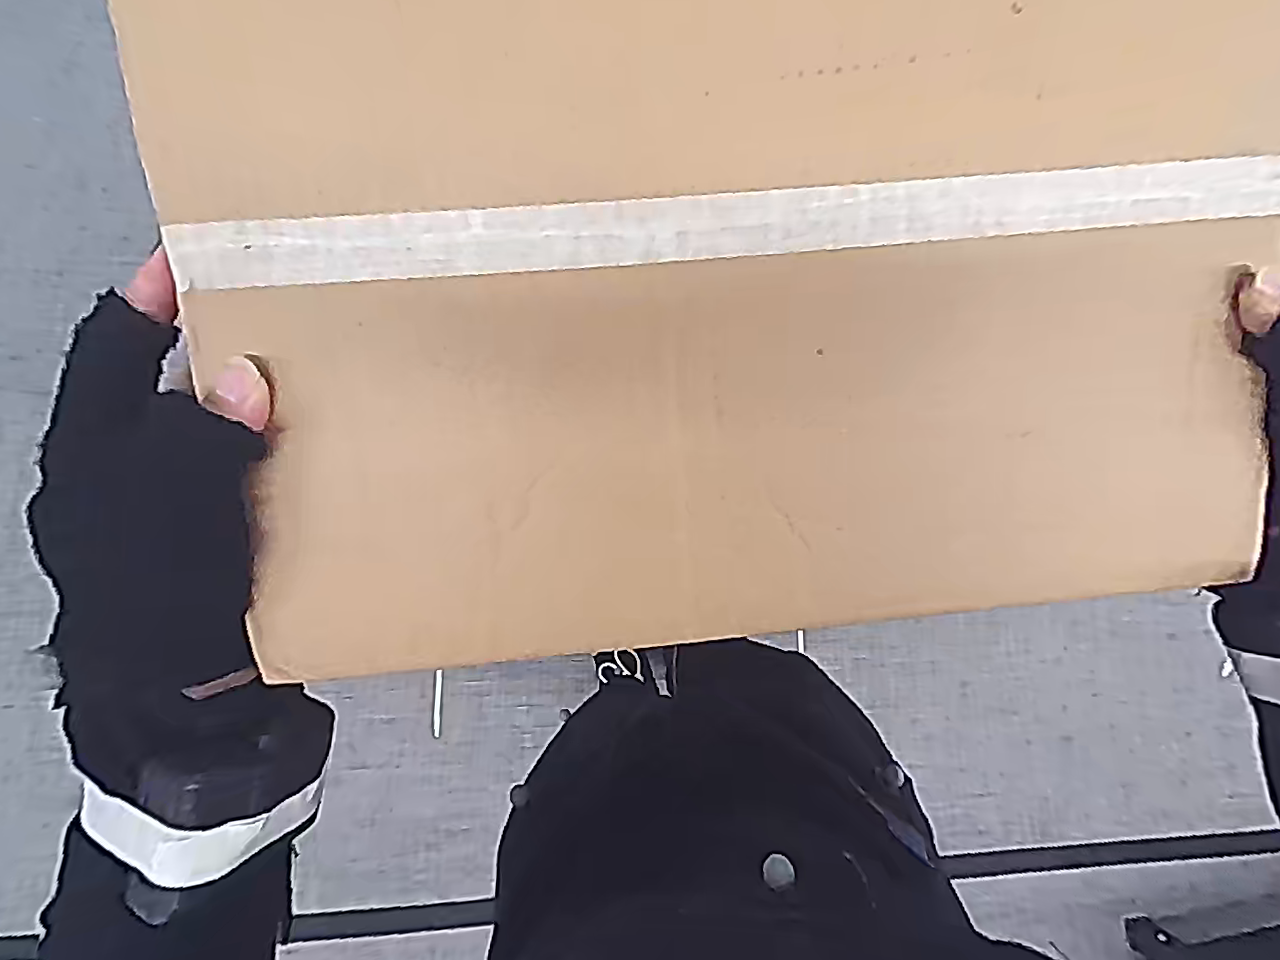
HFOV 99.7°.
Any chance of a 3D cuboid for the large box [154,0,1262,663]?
[{"bbox_3d":[0.032,-0.118,0.354,0.408,0.320,0.320,-5,99,-4],"label":"large box"}]
